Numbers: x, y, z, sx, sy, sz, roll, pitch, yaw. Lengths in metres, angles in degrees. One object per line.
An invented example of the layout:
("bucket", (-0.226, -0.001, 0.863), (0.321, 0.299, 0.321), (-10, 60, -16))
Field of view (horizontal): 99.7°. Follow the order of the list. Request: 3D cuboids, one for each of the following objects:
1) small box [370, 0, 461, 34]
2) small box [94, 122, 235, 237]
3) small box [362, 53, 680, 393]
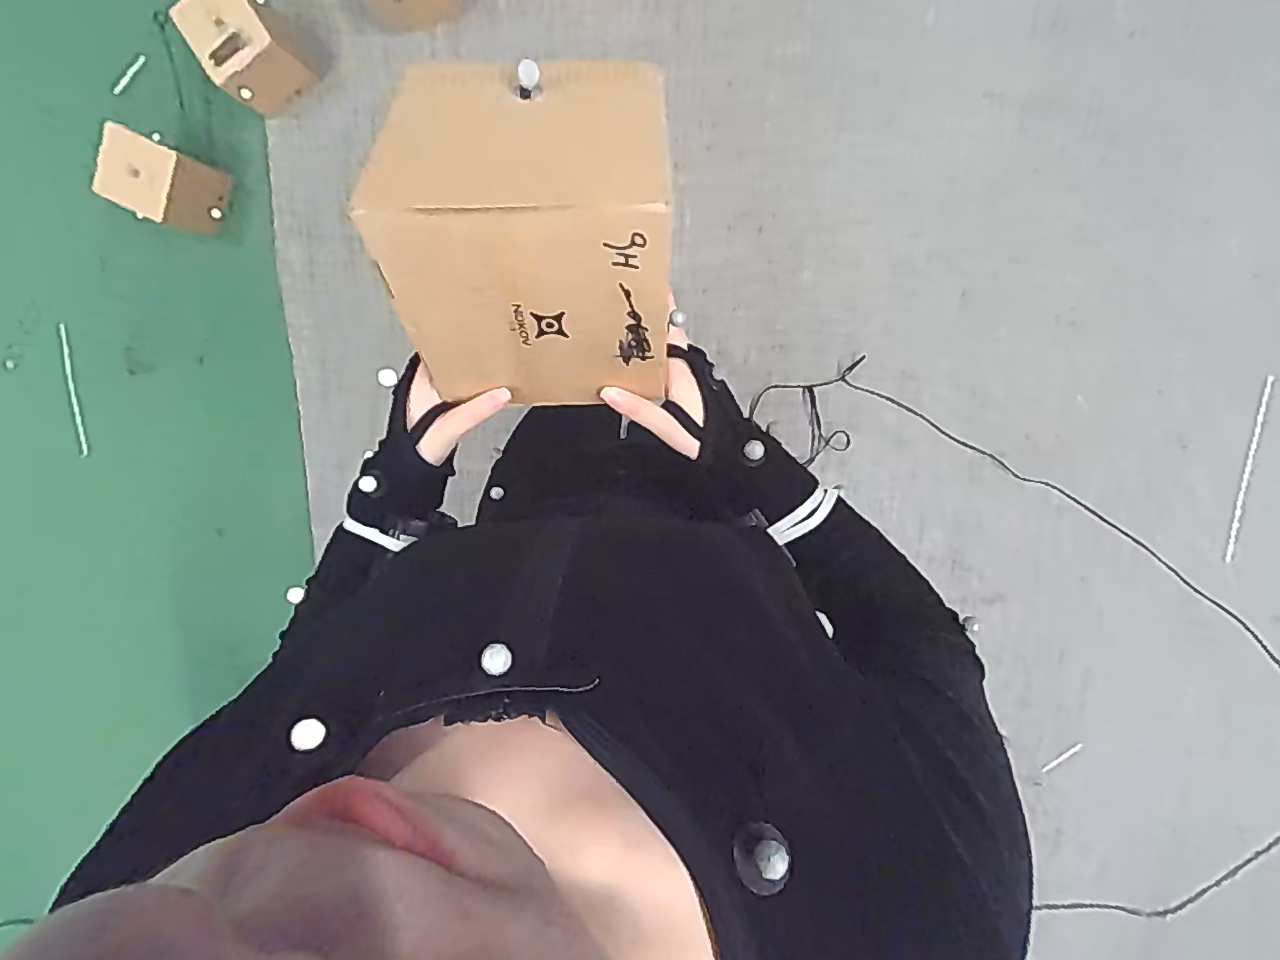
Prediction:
("small box", (-0.525, -1.141, 1.199), (0.179, 0.176, 0.168), (-10, 101, 4))
("small box", (-1.155, -0.721, 1.323), (0.179, 0.176, 0.168), (26, 102, -2))
("small box", (-0.065, -0.183, 0.400), (0.179, 0.168, 0.176), (0, 59, -1))
